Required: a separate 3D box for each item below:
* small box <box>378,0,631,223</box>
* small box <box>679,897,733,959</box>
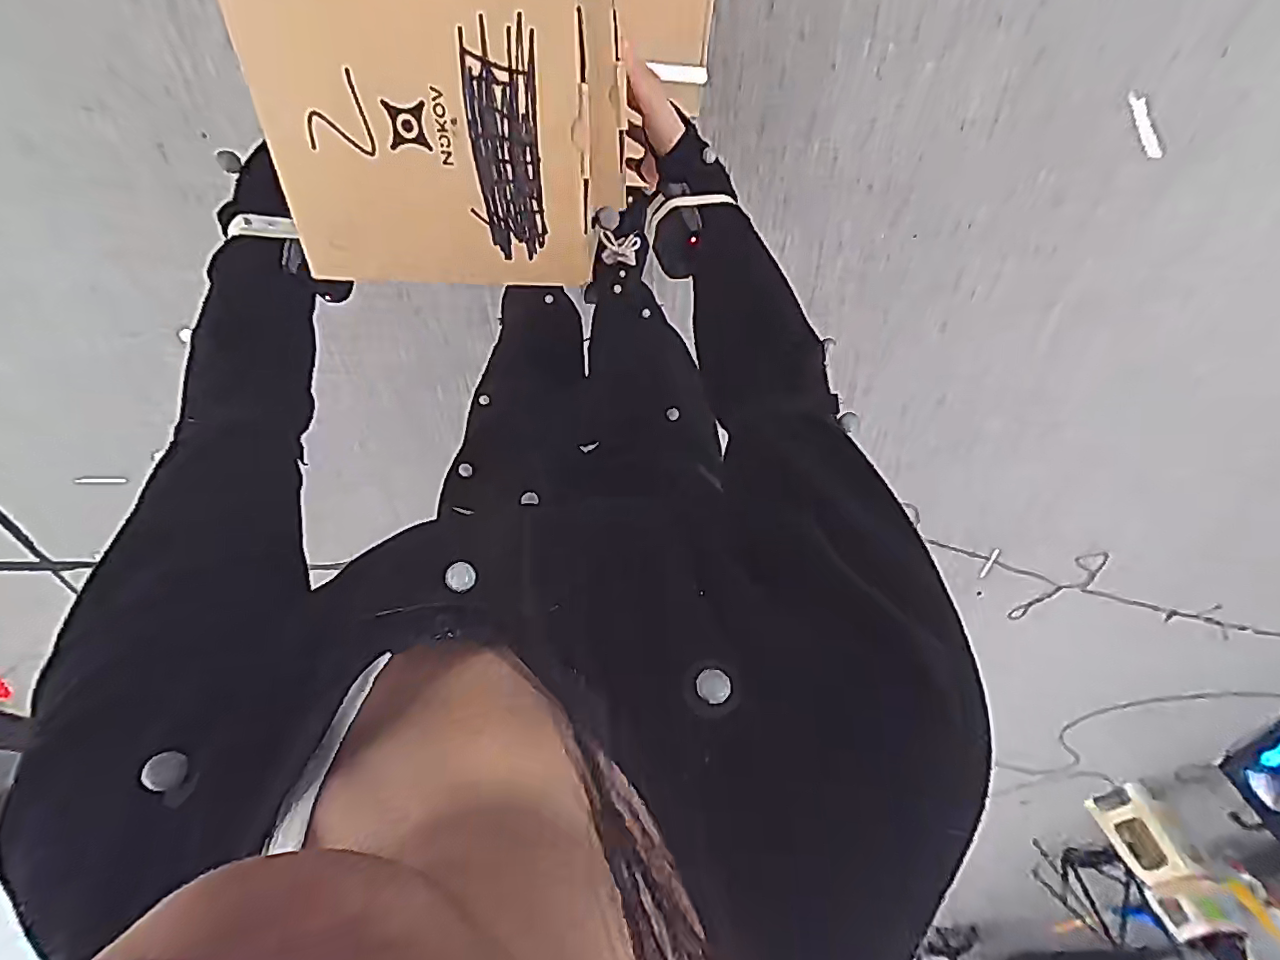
[{"bbox_3d":[-0.099,-0.342,0.486,0.179,0.176,0.168,-2,129,0],"label":"small box"},{"bbox_3d":[0.239,1.674,1.998,0.168,0.176,0.179,2,127,-3],"label":"small box"}]
